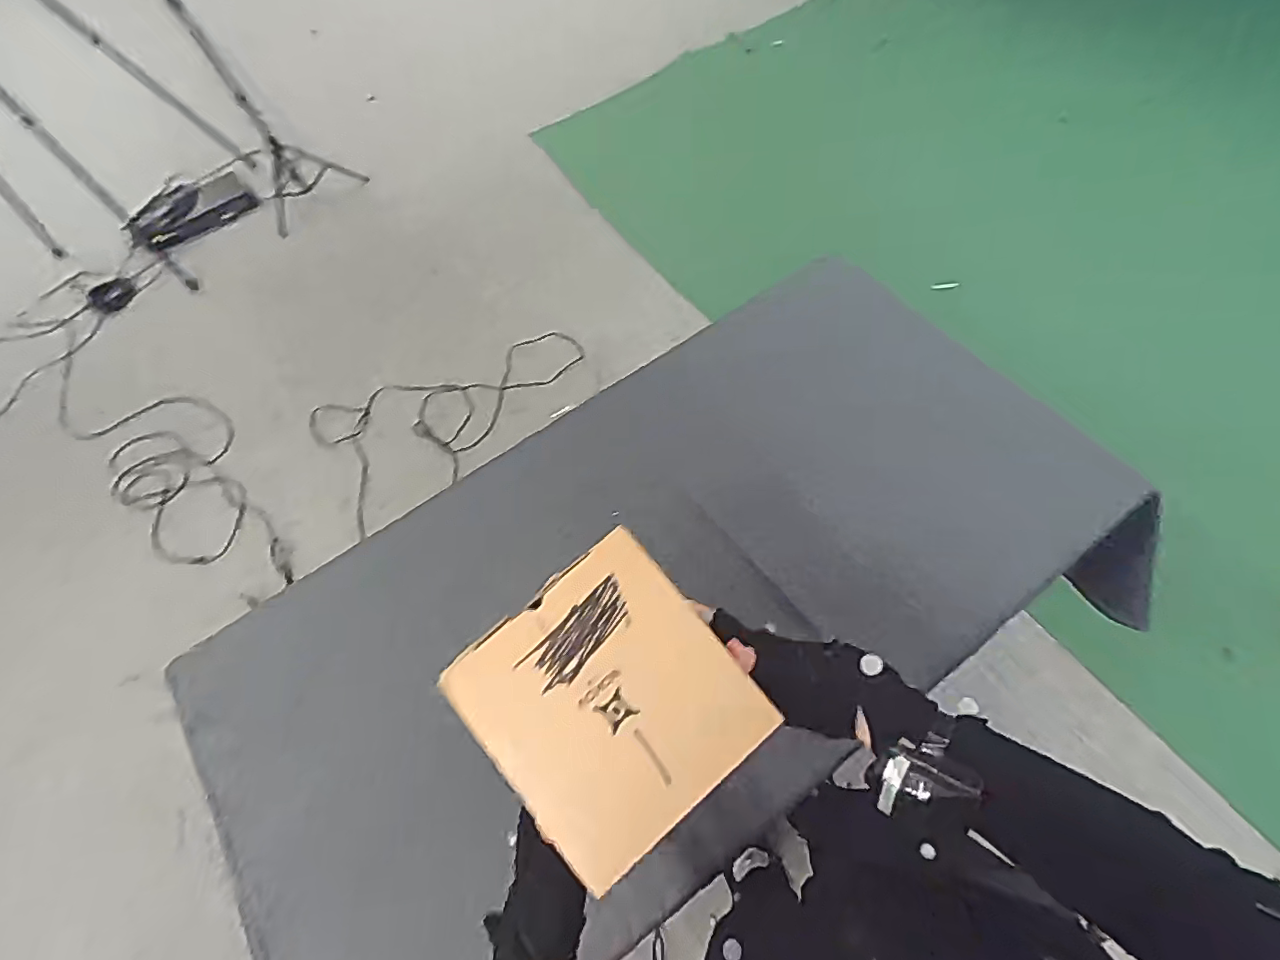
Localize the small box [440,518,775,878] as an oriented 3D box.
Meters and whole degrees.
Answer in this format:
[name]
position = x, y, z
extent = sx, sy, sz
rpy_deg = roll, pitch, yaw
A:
[small box]
position = -0.024, 0.159, 0.446
extent = 0.168, 0.176, 0.179
rpy_deg = -39, 80, -8
